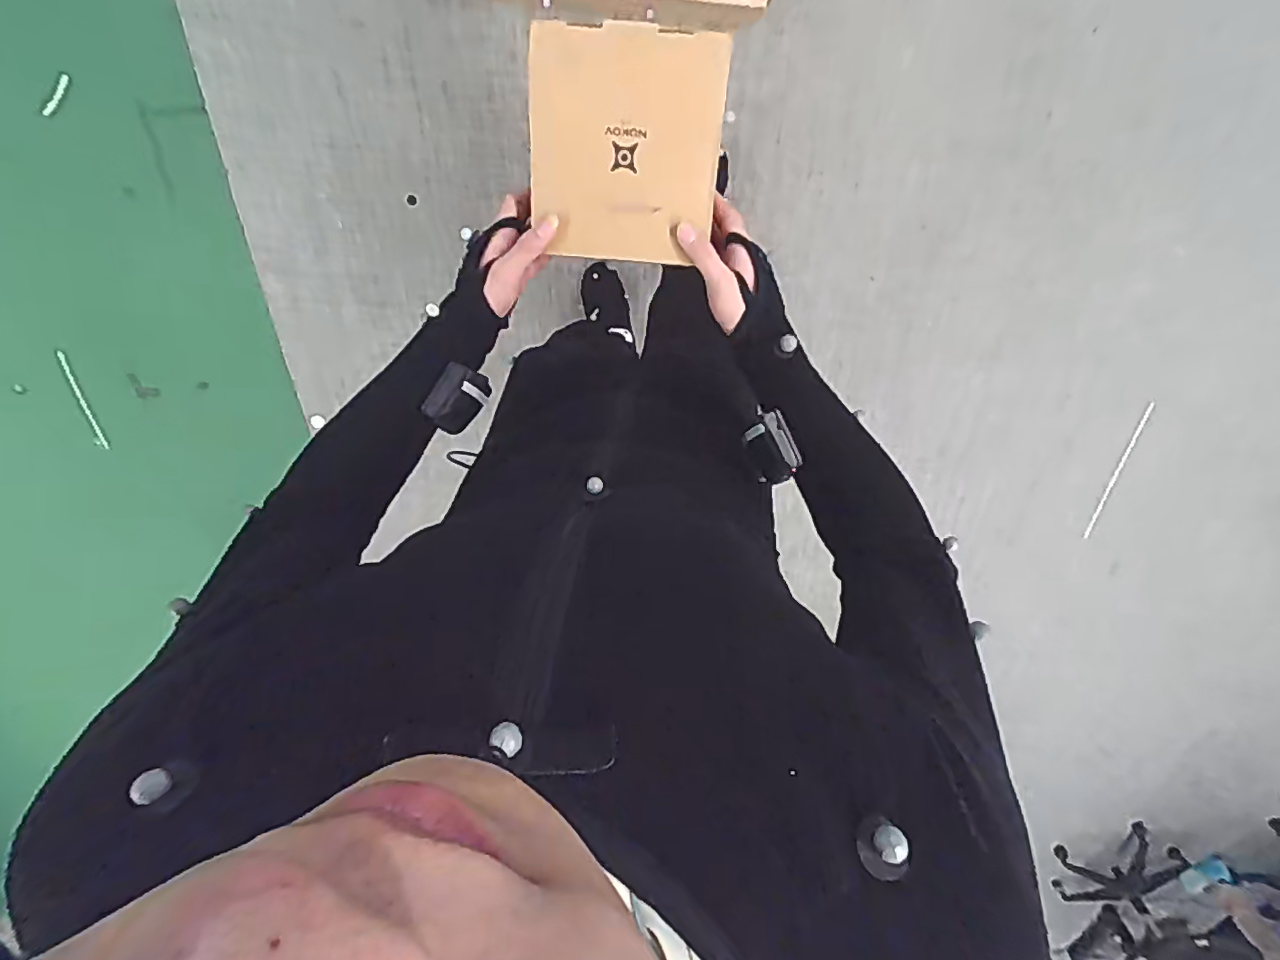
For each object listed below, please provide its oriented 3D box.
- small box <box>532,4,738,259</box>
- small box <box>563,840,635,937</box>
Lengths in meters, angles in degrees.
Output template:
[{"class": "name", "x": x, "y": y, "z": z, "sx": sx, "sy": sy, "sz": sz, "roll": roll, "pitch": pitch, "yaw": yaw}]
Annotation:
[{"class": "small box", "x": -0.008, "y": -0.318, "z": 0.530, "sx": 0.168, "sy": 0.176, "sz": 0.179, "roll": 5, "pitch": 114, "yaw": 1}, {"class": "small box", "x": -0.099, "y": 1.068, "z": 1.399, "sx": 0.168, "sy": 0.176, "sz": 0.179, "roll": -1, "pitch": 119, "yaw": 1}]
